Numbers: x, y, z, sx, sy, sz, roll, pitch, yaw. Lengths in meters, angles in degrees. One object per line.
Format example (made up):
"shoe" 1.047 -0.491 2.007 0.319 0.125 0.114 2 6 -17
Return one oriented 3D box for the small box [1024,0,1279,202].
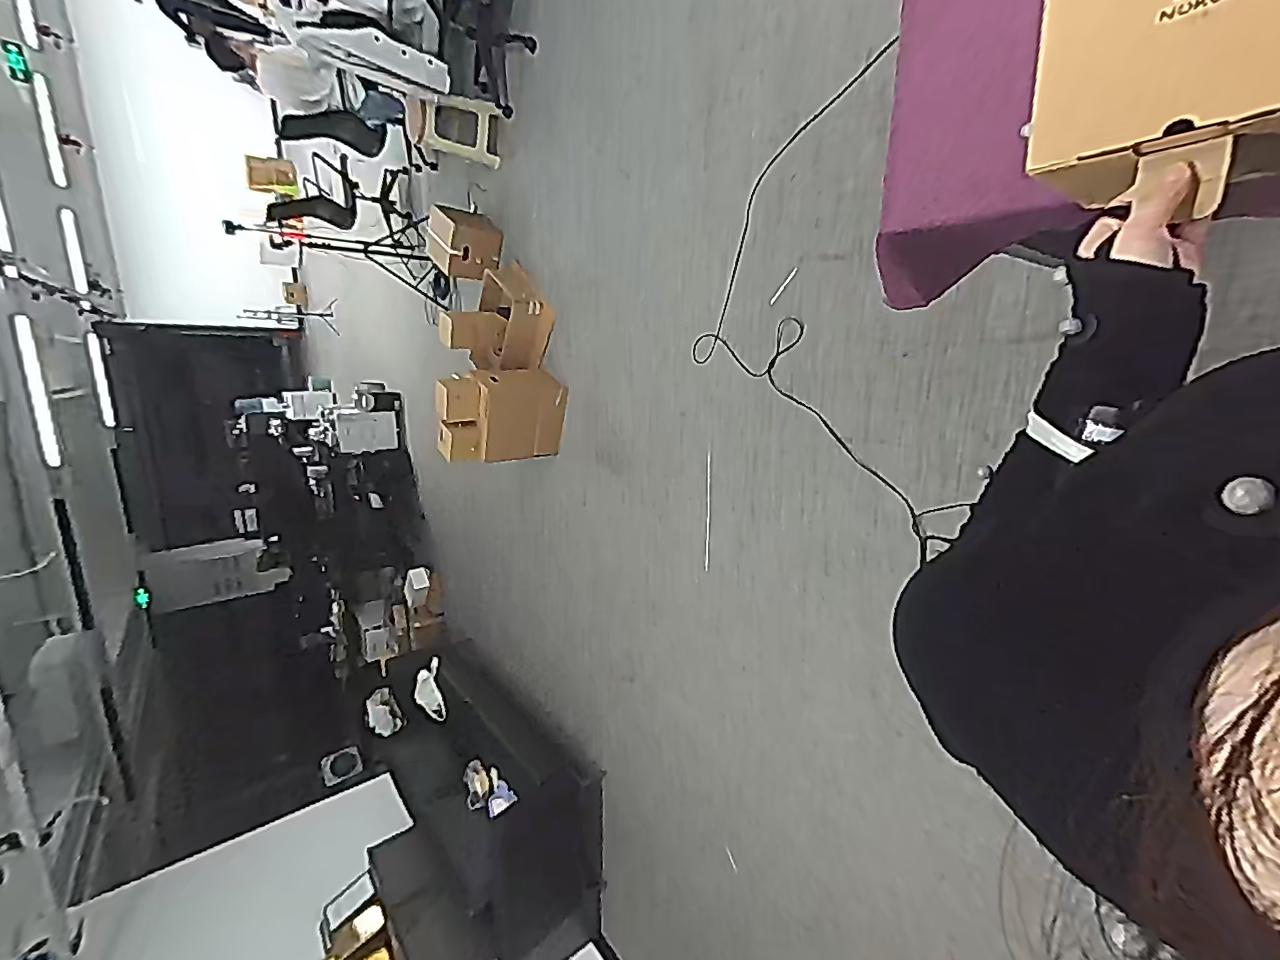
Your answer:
"small box" 0.409 -0.323 0.390 0.168 0.176 0.179 13 110 50
